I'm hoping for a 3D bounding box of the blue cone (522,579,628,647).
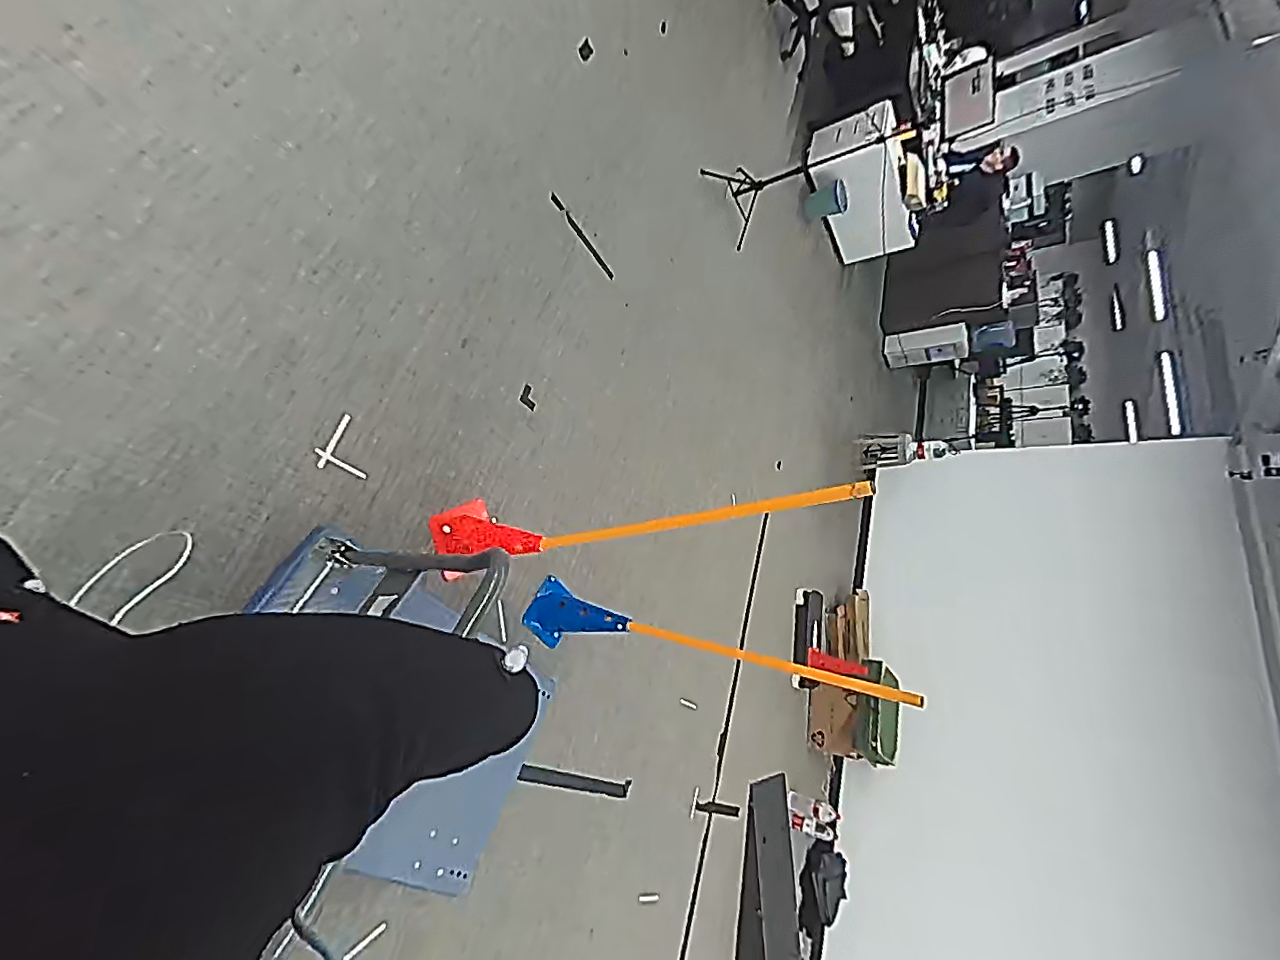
[{"bbox_3d":[-0.189,0.462,1.796,0.192,0.380,0.193,57,47,-33],"label":"blue cone"}]

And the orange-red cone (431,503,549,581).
[{"bbox_3d":[-0.390,0.179,1.520,0.198,0.360,0.199,-24,109,-50],"label":"orange-red cone"}]
